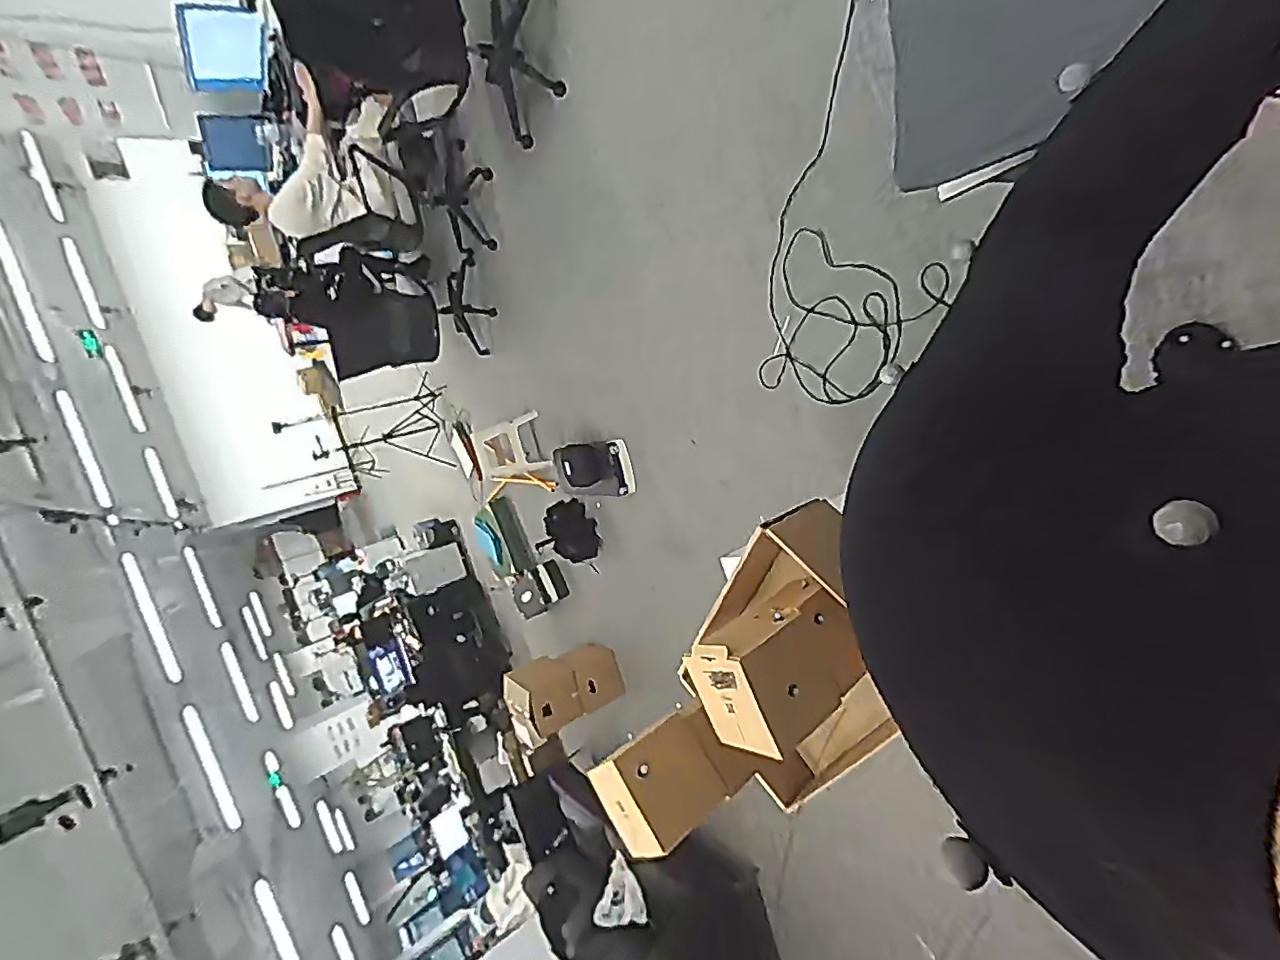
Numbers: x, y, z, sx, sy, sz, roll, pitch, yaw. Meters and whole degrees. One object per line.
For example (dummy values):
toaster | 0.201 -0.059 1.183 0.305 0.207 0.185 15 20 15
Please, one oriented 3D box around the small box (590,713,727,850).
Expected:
small box | 0.033 0.581 1.058 0.179 0.176 0.168 54 143 18

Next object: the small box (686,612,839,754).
small box | 0.218 0.348 0.969 0.168 0.176 0.179 -24 89 58

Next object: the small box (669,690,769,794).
small box | 0.159 0.547 1.161 0.168 0.176 0.179 57 142 15
